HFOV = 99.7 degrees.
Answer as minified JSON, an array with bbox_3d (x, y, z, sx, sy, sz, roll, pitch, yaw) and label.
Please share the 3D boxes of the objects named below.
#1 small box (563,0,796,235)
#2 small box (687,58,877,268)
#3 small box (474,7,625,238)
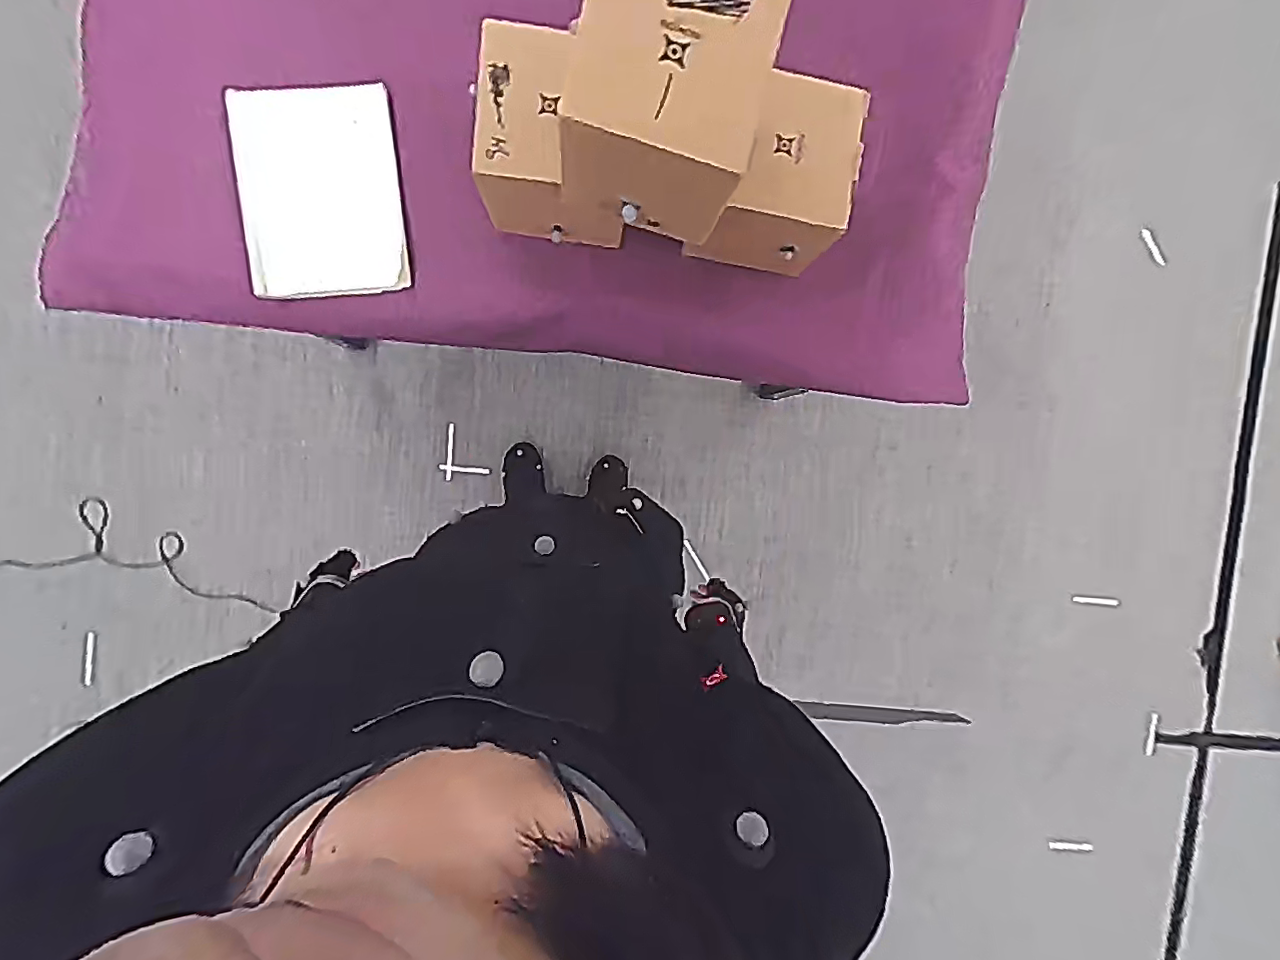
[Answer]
[{"bbox_3d":[0.028,-0.370,0.515,0.168,0.176,0.179,15,92,-7],"label":"small box"},{"bbox_3d":[0.168,-0.391,0.694,0.179,0.176,0.168,9,91,-4],"label":"small box"},{"bbox_3d":[-0.094,-0.418,0.667,0.179,0.176,0.168,5,92,-6],"label":"small box"}]
